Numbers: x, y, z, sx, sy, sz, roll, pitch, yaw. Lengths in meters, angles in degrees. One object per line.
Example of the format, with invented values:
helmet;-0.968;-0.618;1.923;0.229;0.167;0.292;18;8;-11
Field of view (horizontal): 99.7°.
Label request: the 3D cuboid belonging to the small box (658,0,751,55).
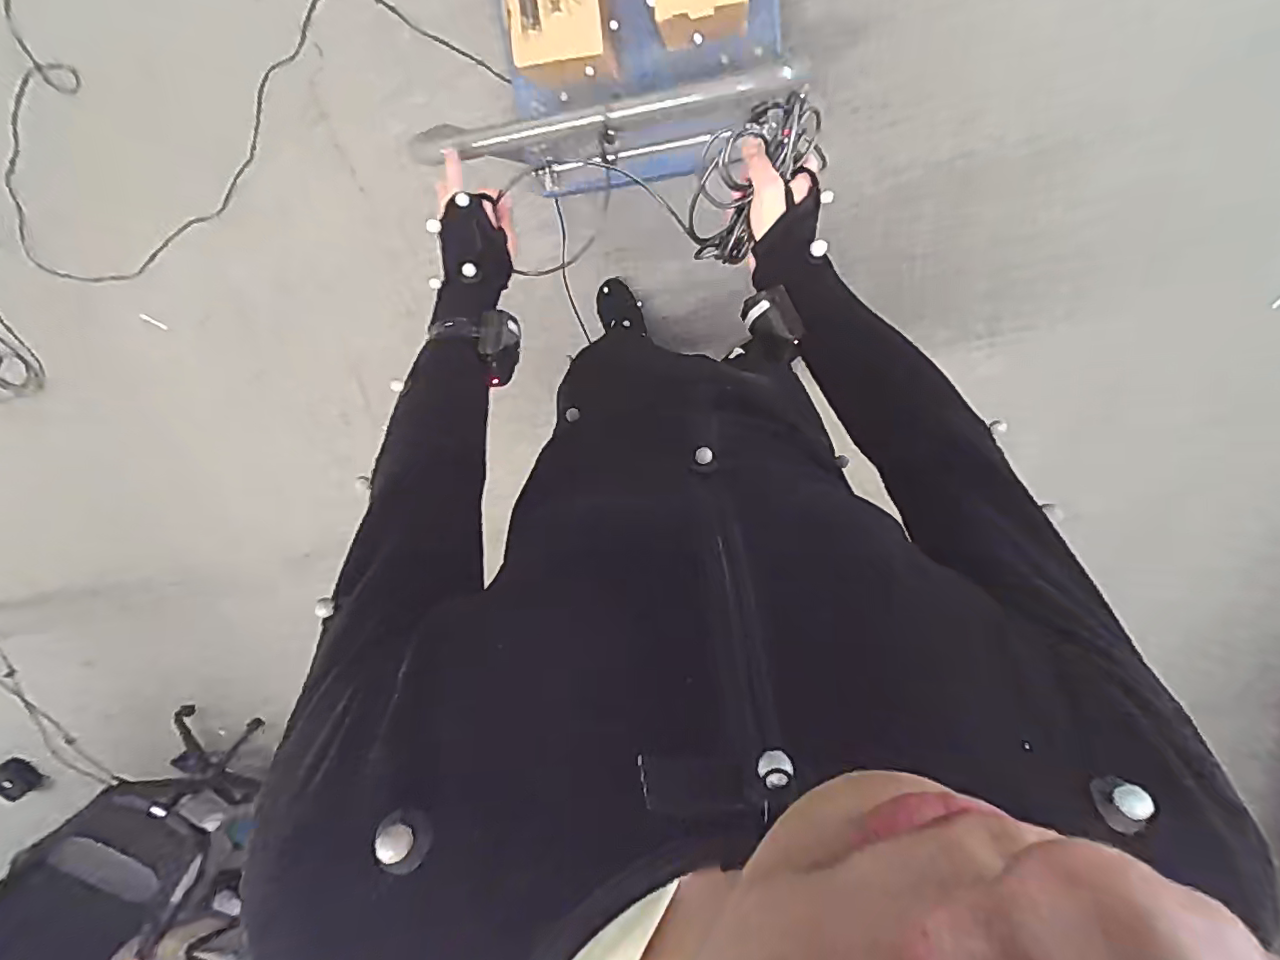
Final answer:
small box;0.117;-0.938;1.009;0.168;0.176;0.179;-4;113;11
